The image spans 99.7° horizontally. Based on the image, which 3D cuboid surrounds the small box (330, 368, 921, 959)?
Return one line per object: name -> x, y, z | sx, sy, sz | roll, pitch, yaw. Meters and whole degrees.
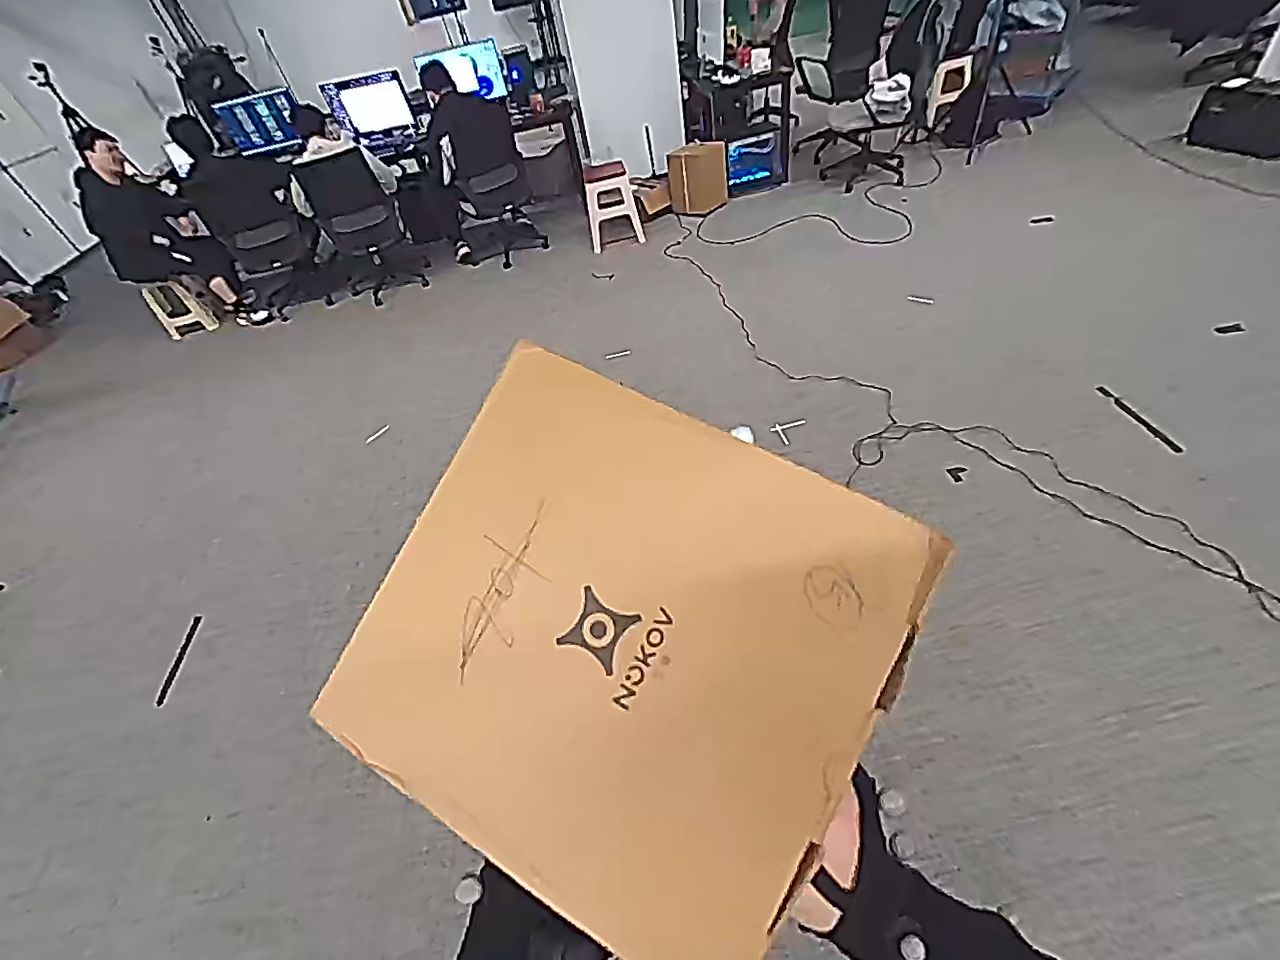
small box -> 0.002, 0.073, 0.277 | 0.179, 0.176, 0.168 | 25, 84, 15
